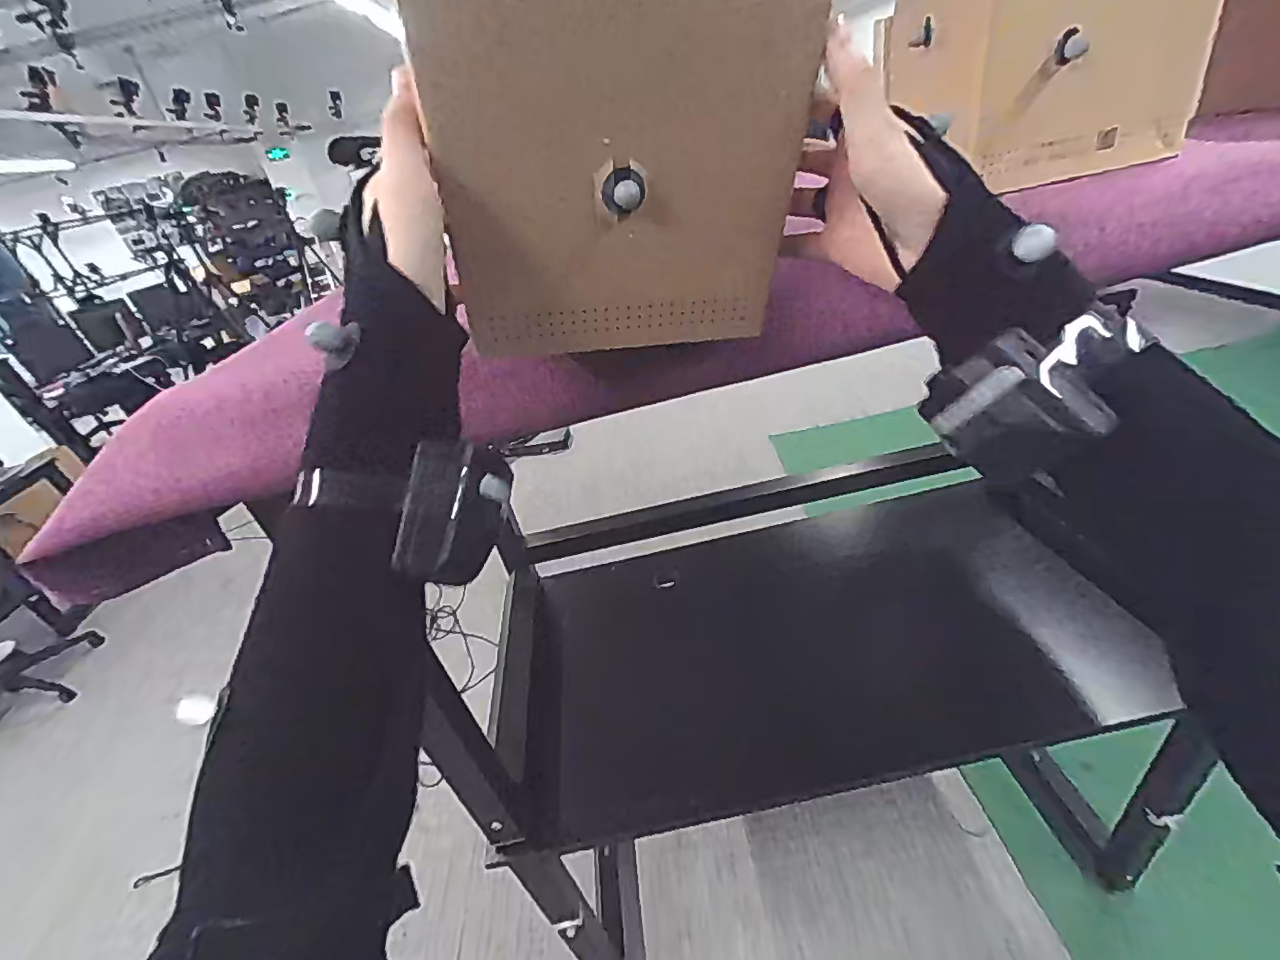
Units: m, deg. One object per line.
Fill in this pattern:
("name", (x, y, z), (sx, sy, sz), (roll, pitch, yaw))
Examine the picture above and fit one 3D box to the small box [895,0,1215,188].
("small box", (0.338, -0.361, 0.466), (0.168, 0.176, 0.179), (-10, 31, 5))
